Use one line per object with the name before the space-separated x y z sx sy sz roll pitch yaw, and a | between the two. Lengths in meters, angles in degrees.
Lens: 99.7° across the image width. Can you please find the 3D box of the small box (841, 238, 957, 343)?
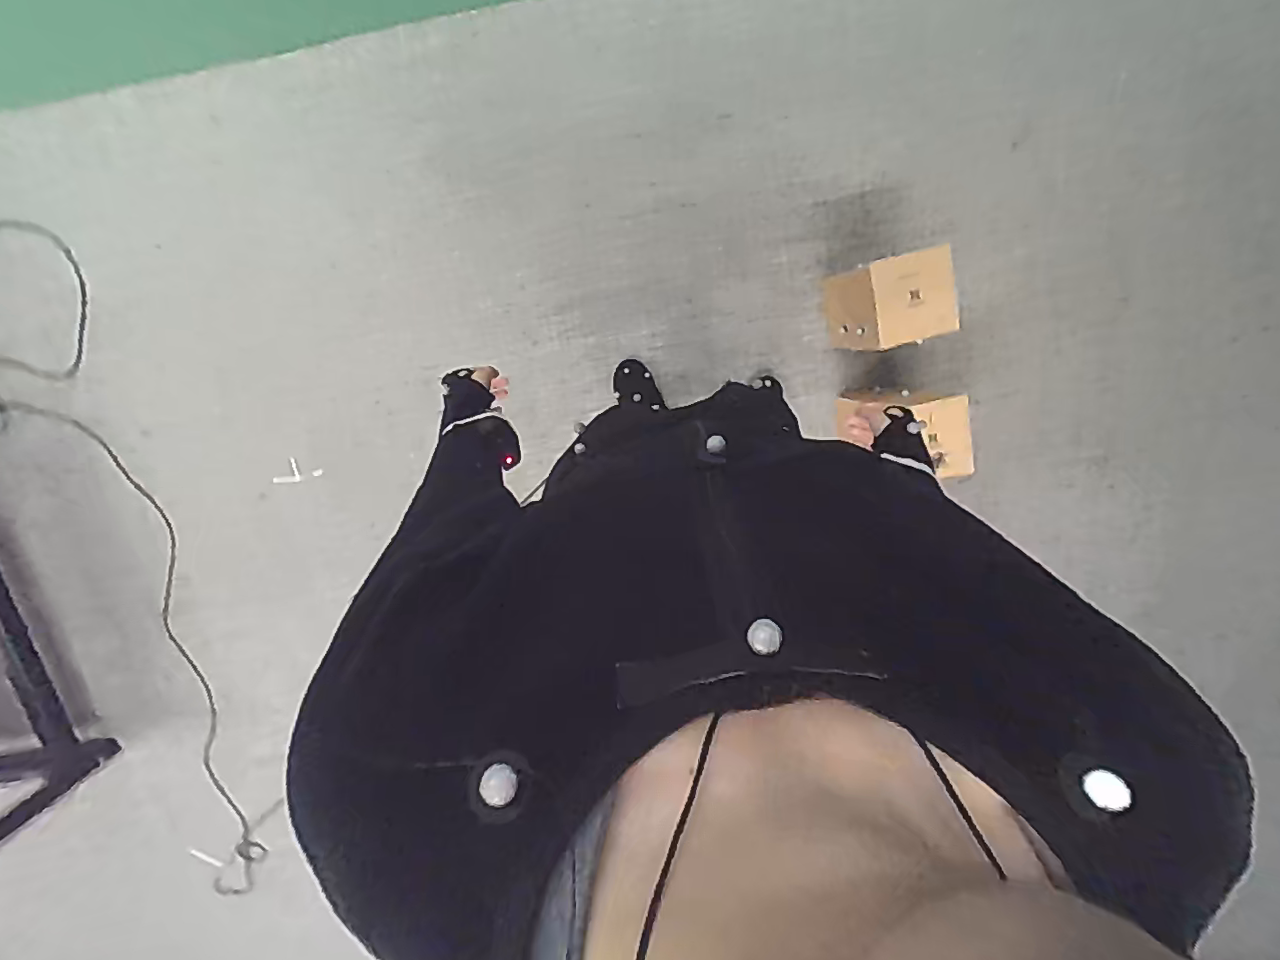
small box | 0.554 -0.400 1.172 0.168 0.176 0.179 -13 101 3

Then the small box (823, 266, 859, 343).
small box | 0.565 -0.441 1.330 0.168 0.176 0.179 -13 101 3

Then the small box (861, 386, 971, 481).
small box | 0.623 -0.112 1.235 0.168 0.176 0.179 -11 101 3
